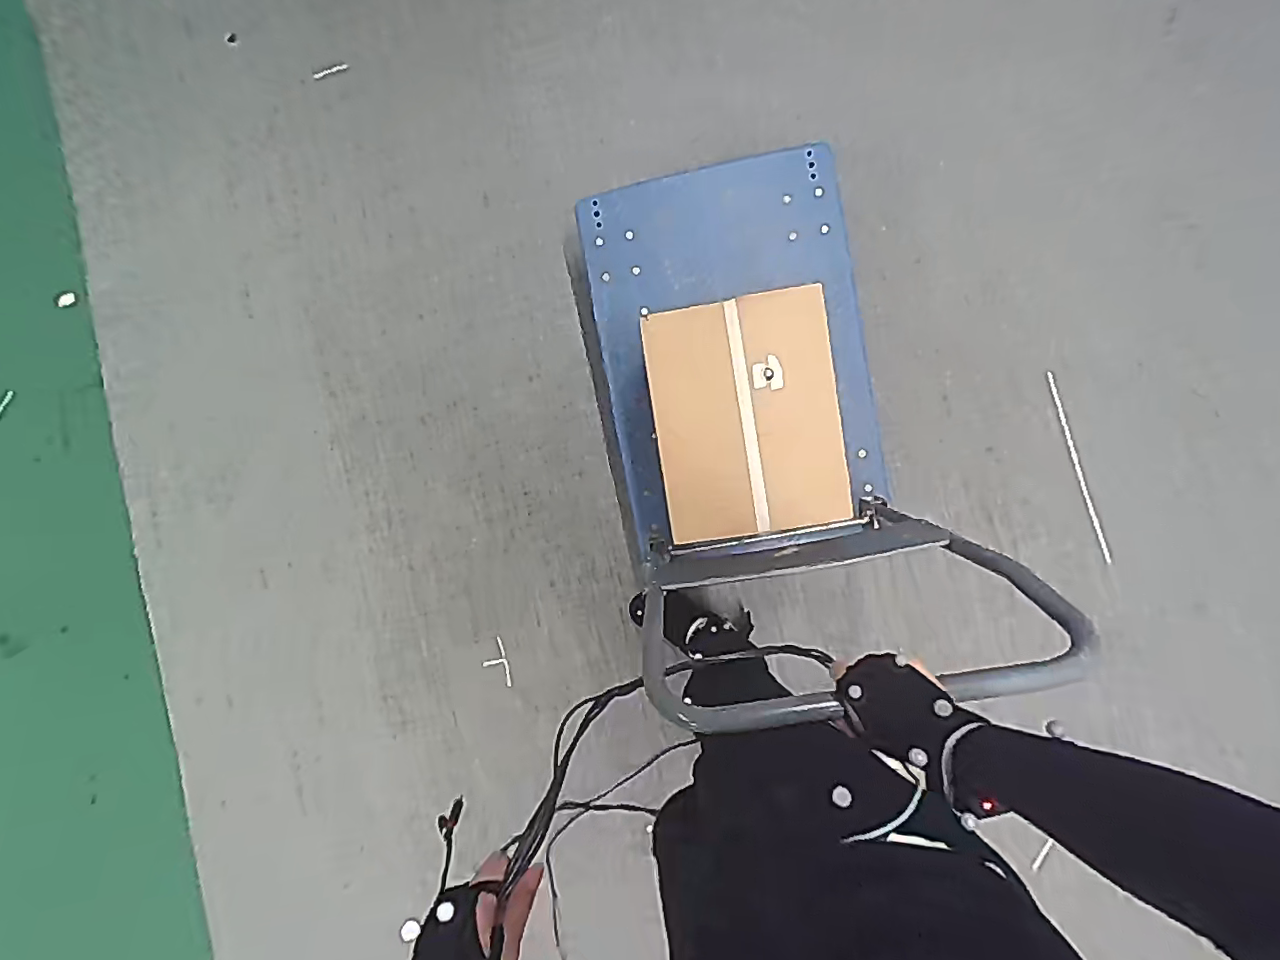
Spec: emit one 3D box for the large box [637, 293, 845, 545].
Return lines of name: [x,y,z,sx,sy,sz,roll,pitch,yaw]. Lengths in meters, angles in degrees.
large box: [0.186,-0.108,1.080,0.320,0.320,0.408,-8,92,4]
